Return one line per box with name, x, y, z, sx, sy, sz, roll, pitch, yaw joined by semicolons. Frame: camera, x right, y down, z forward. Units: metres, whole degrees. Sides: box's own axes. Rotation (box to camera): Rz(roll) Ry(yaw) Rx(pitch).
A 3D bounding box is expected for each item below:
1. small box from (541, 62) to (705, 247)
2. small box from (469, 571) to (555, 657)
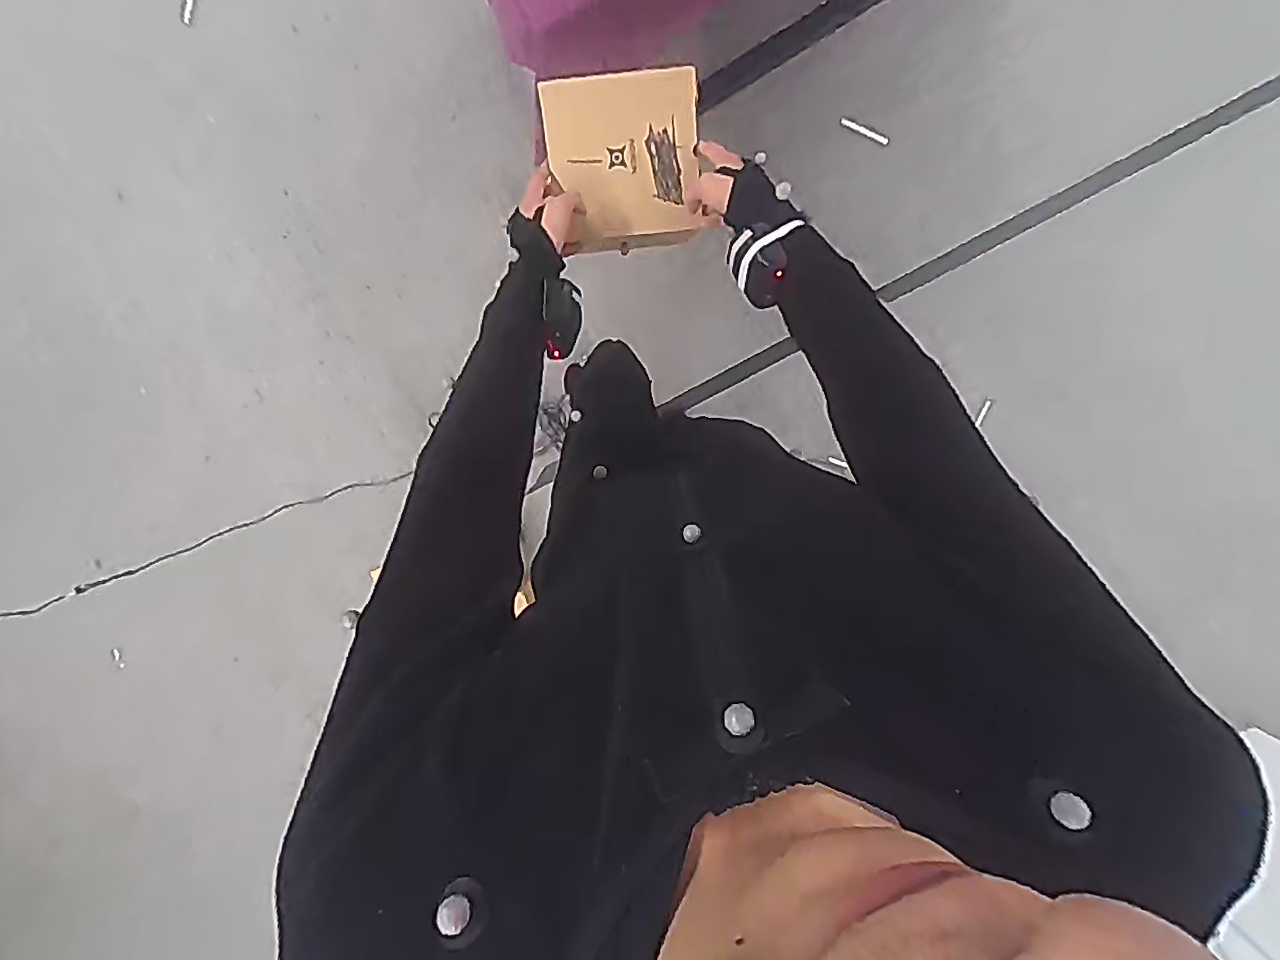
small box;-0.020;-0.397;0.688;0.179;0.176;0.168;-6;108;0
small box;-0.379;0.400;1.632;0.179;0.176;0.168;-23;99;6
